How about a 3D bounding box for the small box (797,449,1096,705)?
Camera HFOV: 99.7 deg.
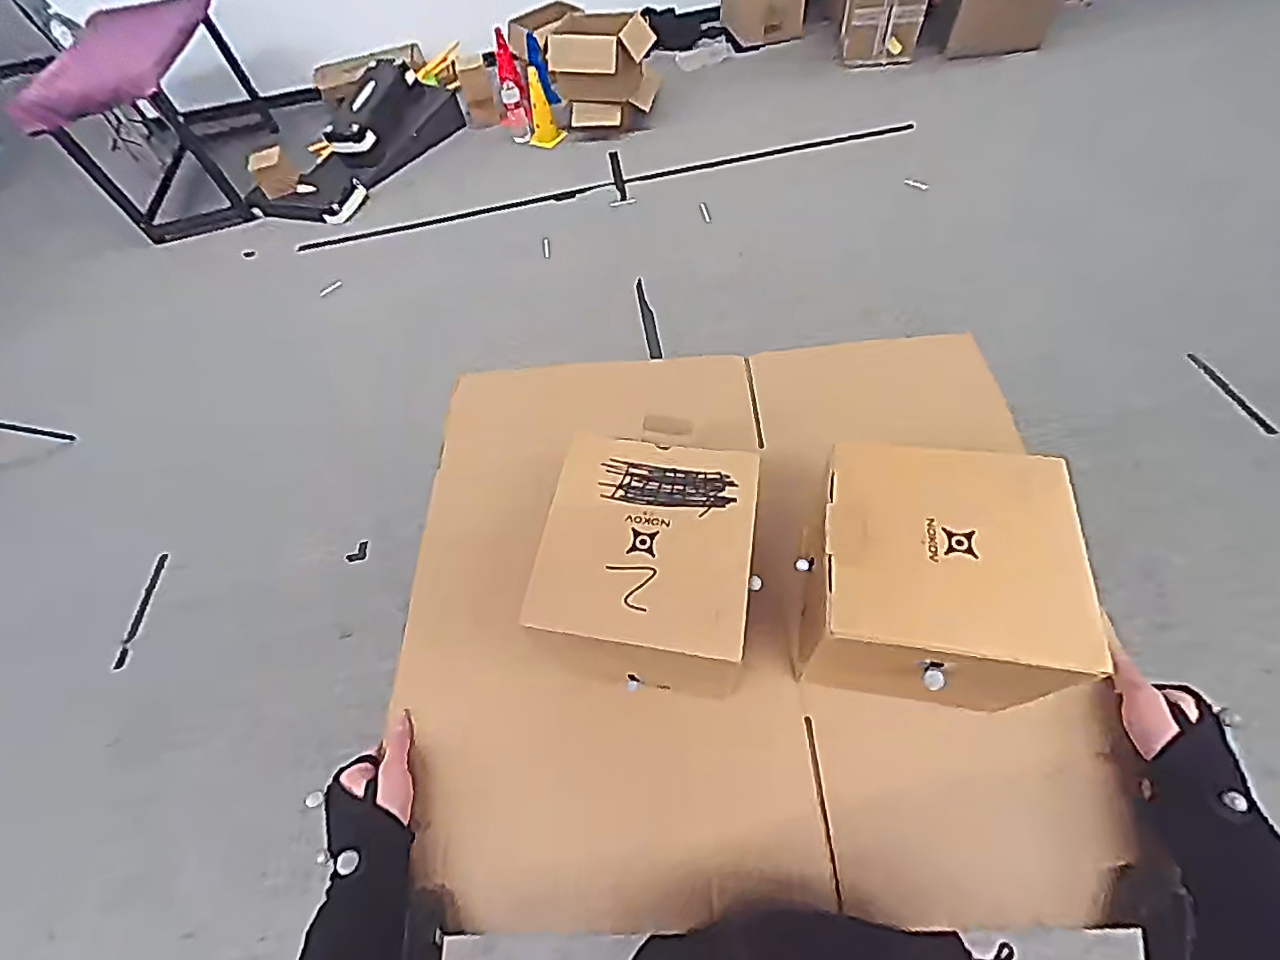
[{"bbox_3d":[0.244,0.092,0.479,0.179,0.176,0.168,6,61,13],"label":"small box"}]
